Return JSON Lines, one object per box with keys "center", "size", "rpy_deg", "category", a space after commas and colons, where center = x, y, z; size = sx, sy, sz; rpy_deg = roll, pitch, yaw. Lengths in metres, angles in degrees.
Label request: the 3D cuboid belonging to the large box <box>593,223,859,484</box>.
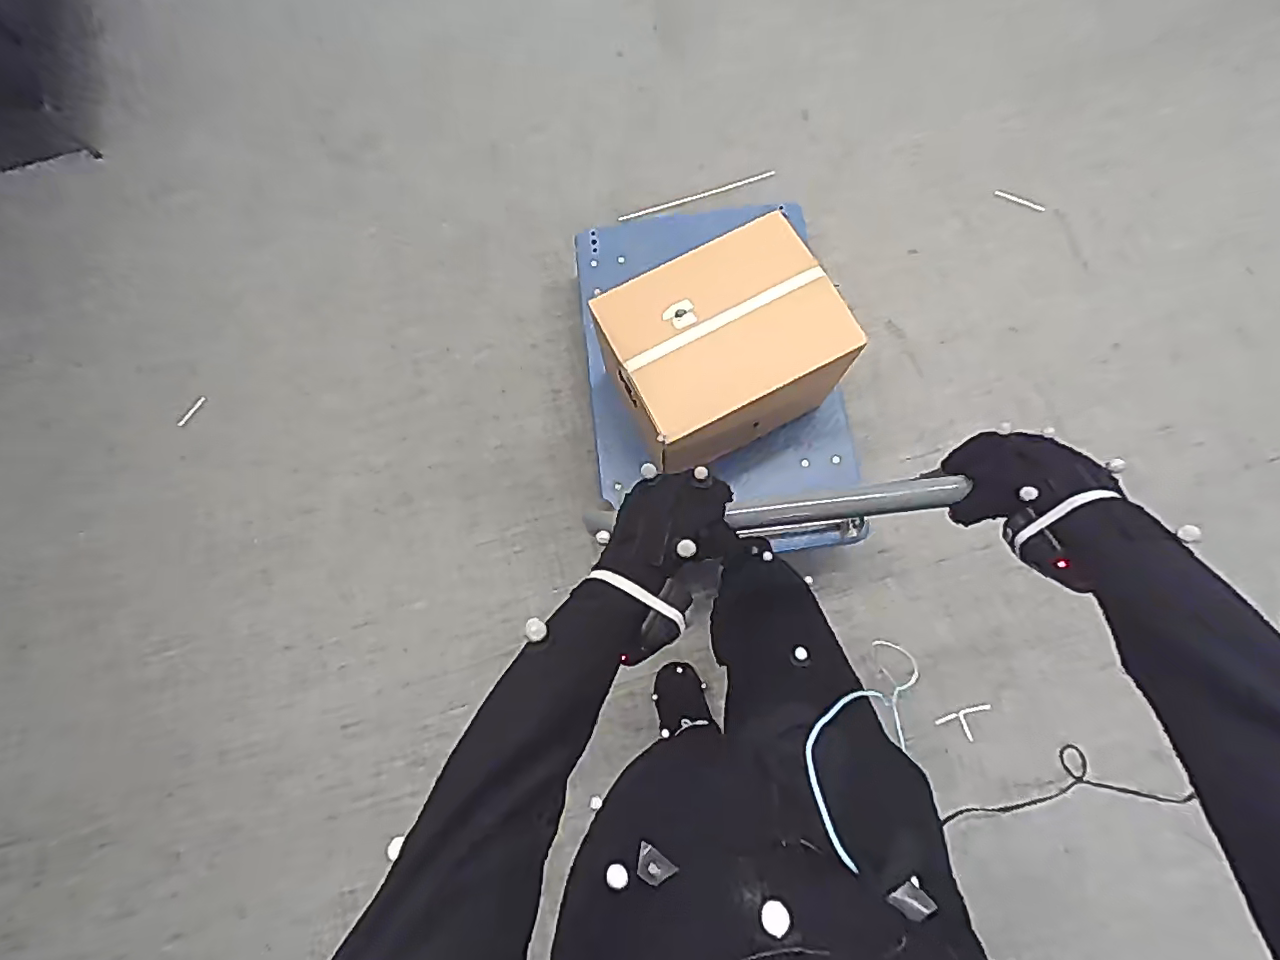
{"center": [0.162, -0.239, 1.131], "size": [0.408, 0.320, 0.320], "rpy_deg": [-27, 76, -3], "category": "large box"}
